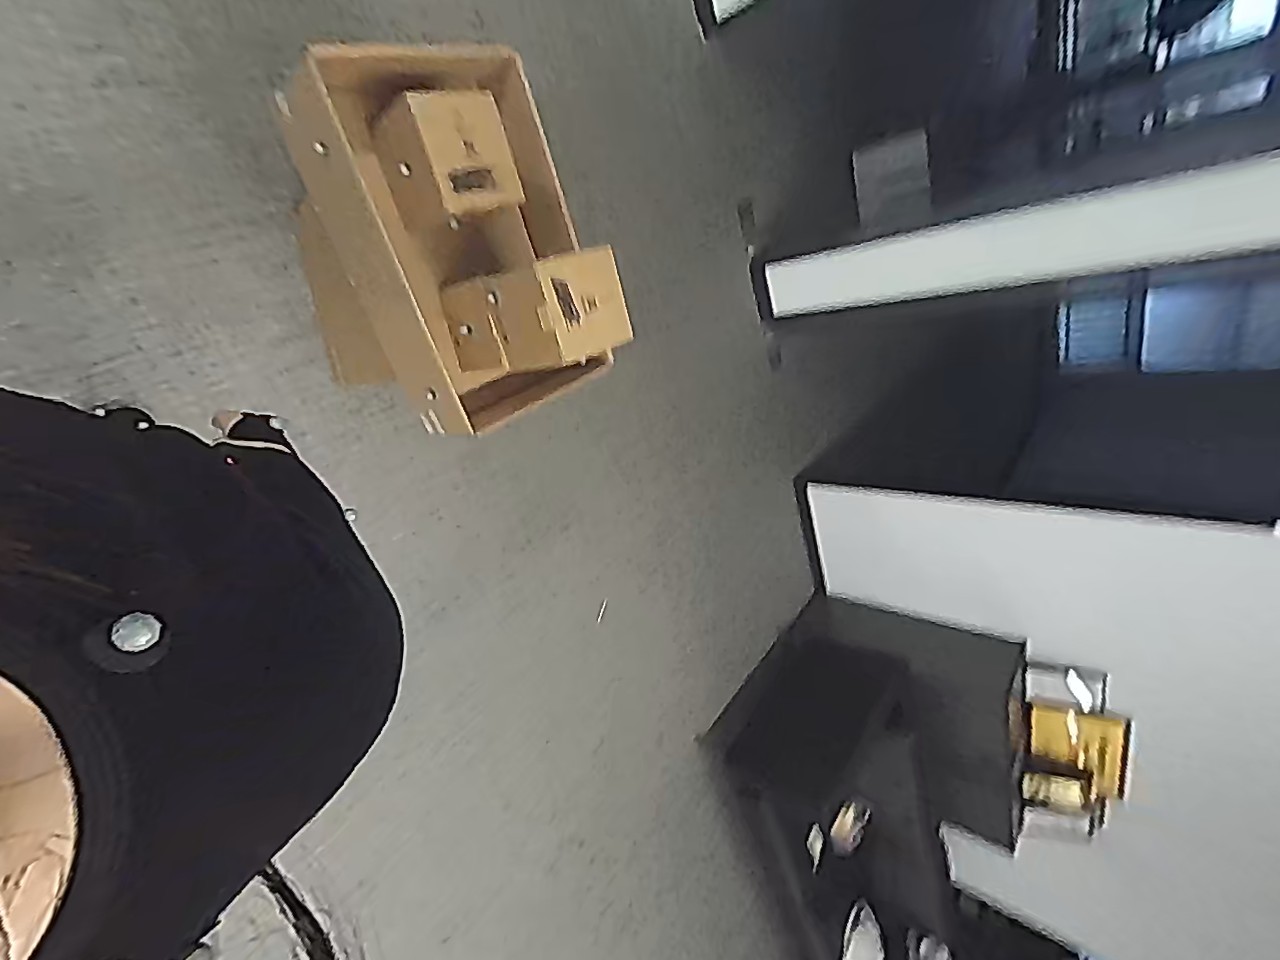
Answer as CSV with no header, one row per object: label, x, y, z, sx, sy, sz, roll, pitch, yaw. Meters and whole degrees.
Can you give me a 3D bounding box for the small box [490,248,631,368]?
small box,-0.150,-0.308,0.984,0.179,0.176,0.168,-34,118,-39
